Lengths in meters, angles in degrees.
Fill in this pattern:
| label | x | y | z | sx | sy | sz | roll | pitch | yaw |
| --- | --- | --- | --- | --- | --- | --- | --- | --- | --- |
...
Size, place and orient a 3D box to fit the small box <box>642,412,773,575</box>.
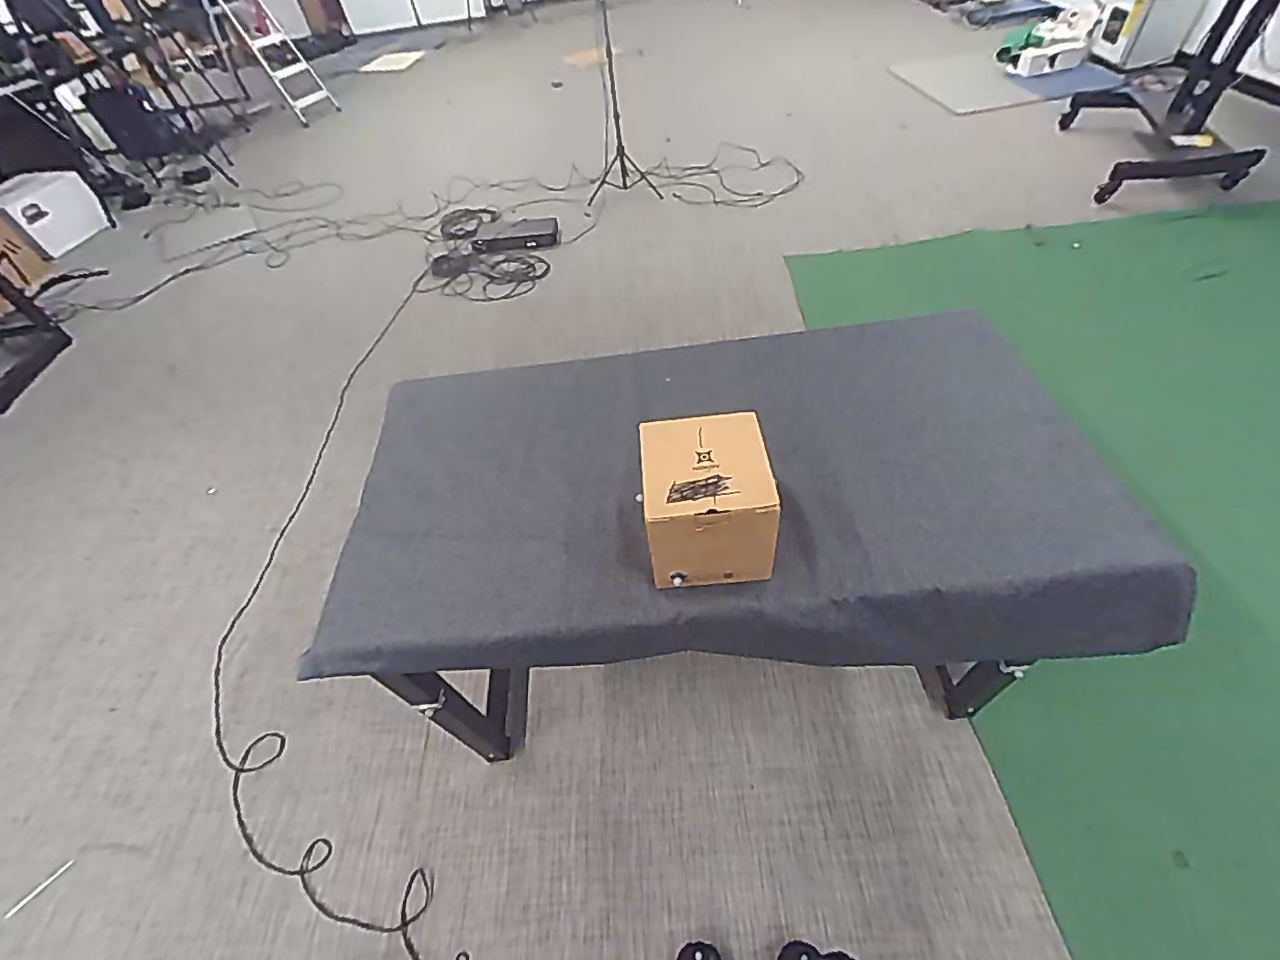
| label | x | y | z | sx | sy | sz | roll | pitch | yaw |
| --- | --- | --- | --- | --- | --- | --- | --- | --- | --- |
| small box | 0.094 | 0.027 | 0.788 | 0.168 | 0.176 | 0.179 | -5 | 48 | 3 |
